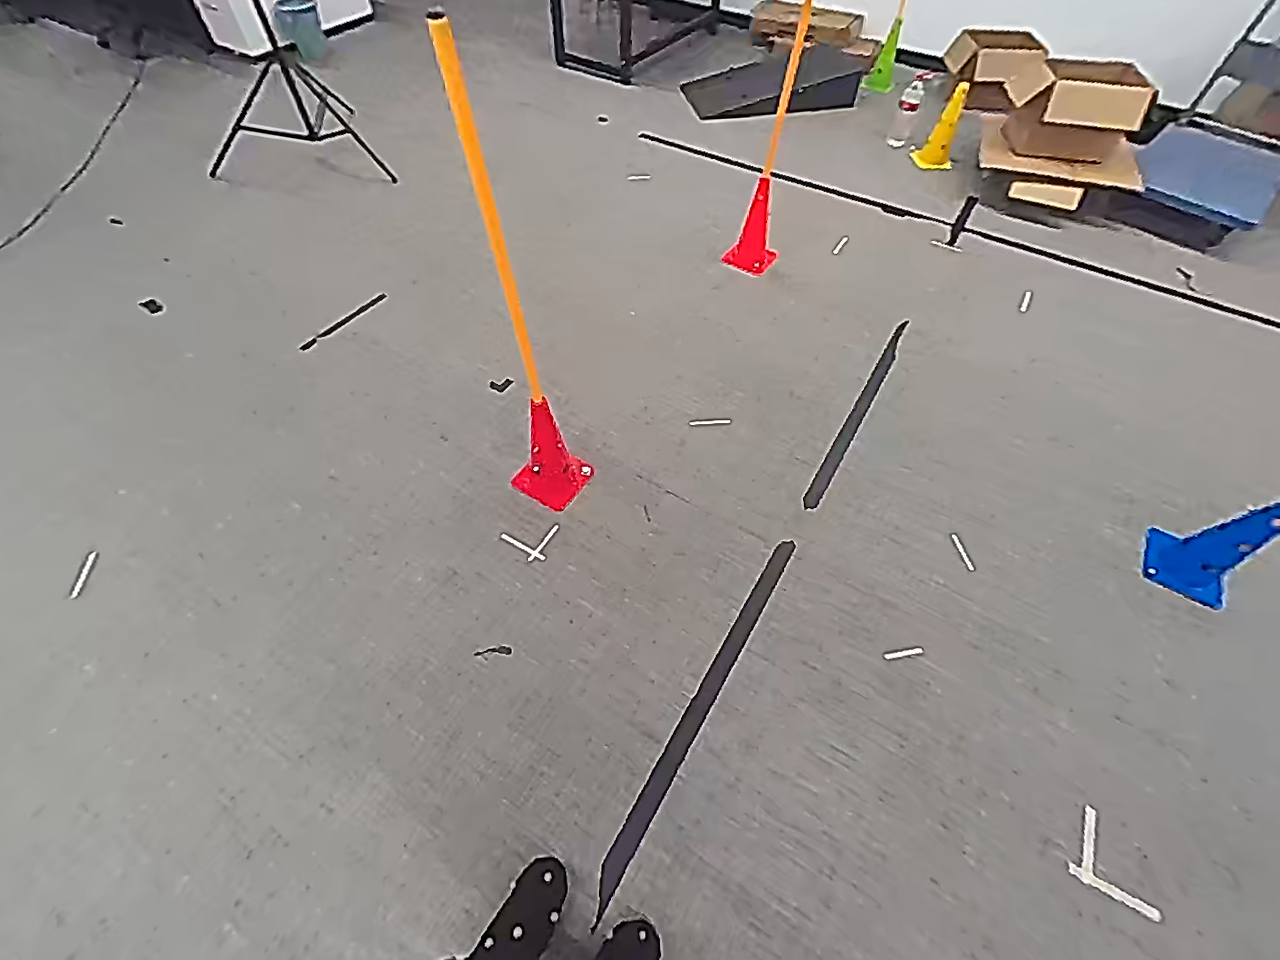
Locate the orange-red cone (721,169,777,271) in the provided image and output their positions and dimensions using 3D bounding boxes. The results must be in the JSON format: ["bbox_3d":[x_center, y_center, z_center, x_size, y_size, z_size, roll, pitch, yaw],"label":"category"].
[{"bbox_3d":[0.485,-1.094,2.236,0.198,0.360,0.199,31,59,18],"label":"orange-red cone"}]

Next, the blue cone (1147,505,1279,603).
[{"bbox_3d":[1.583,0.153,1.430,0.193,0.380,0.192,31,61,19],"label":"blue cone"}]
